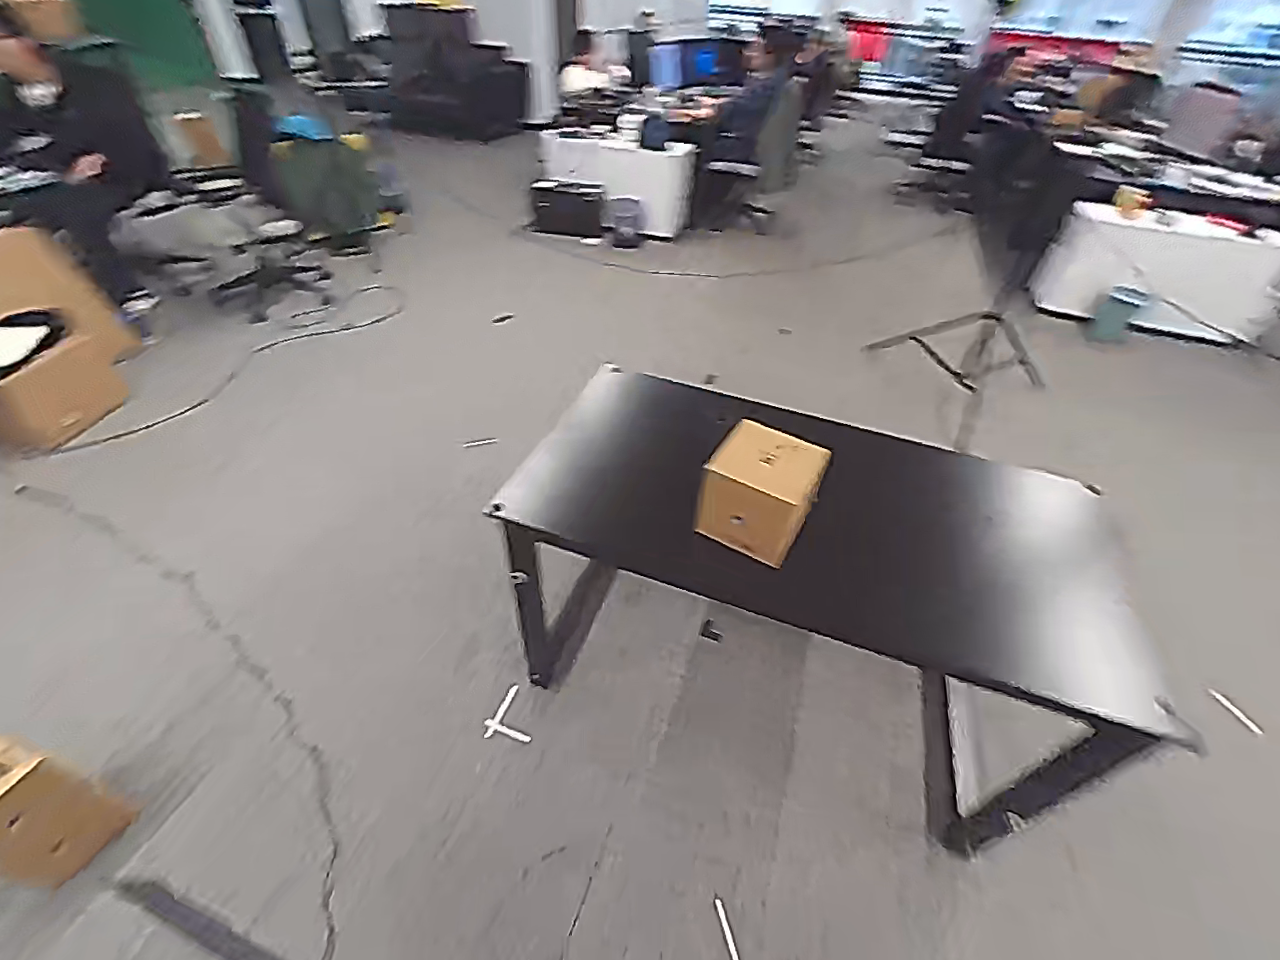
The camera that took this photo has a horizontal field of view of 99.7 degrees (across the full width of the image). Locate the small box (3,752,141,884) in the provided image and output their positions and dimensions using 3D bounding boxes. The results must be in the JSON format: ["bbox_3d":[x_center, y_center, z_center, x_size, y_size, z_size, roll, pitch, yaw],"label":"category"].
[{"bbox_3d":[-1.290,0.754,1.203,0.168,0.176,0.179,22,46,18],"label":"small box"}]

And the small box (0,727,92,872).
[{"bbox_3d":[-1.272,0.640,1.085,0.168,0.176,0.179,17,45,14],"label":"small box"}]

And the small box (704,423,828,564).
[{"bbox_3d":[0.232,0.027,1.025,0.168,0.176,0.179,25,46,21],"label":"small box"}]
